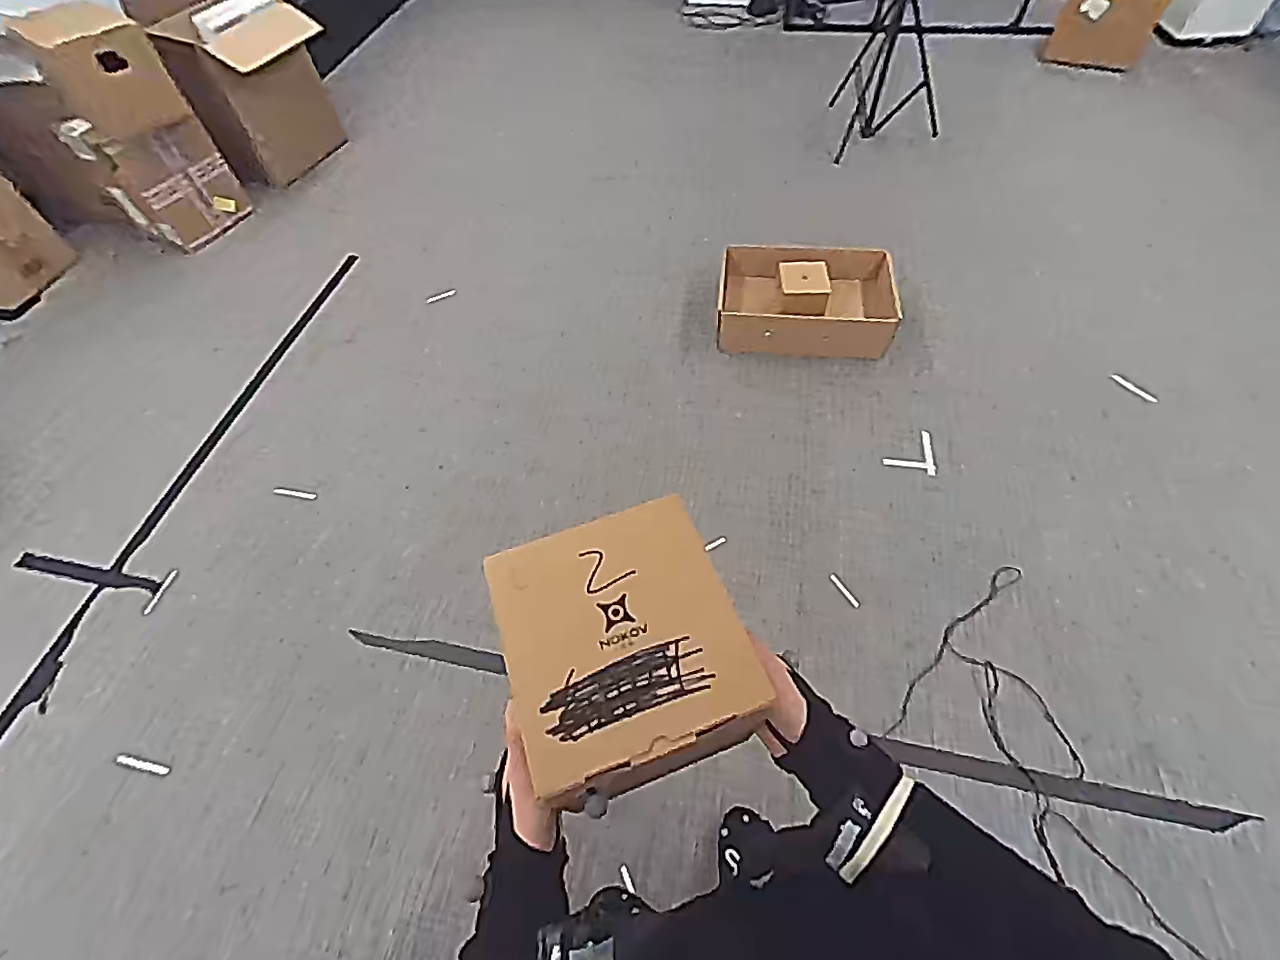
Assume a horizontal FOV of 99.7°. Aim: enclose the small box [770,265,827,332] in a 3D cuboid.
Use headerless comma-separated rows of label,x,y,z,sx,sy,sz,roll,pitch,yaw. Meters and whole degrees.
small box,0.580,-0.671,2.000,0.168,0.176,0.179,0,58,4
